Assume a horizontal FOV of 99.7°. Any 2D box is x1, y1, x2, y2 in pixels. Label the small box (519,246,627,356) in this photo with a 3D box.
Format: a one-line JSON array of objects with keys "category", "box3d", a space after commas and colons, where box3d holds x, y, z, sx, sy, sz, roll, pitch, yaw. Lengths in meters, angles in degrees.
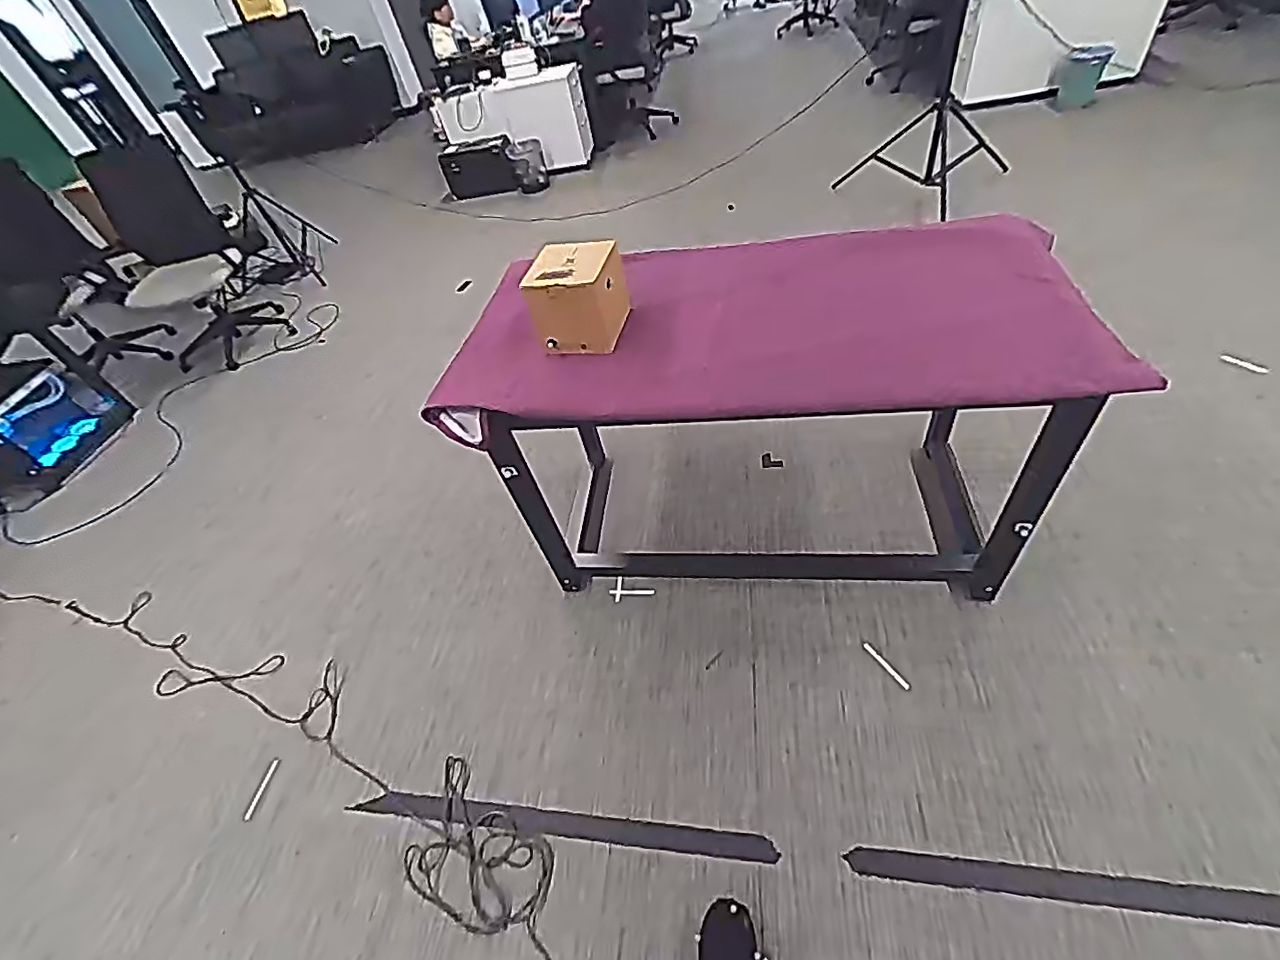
[{"category": "small box", "box3d": [-0.136, -0.387, 1.184, 0.168, 0.176, 0.179, 3, 49, 16]}]
